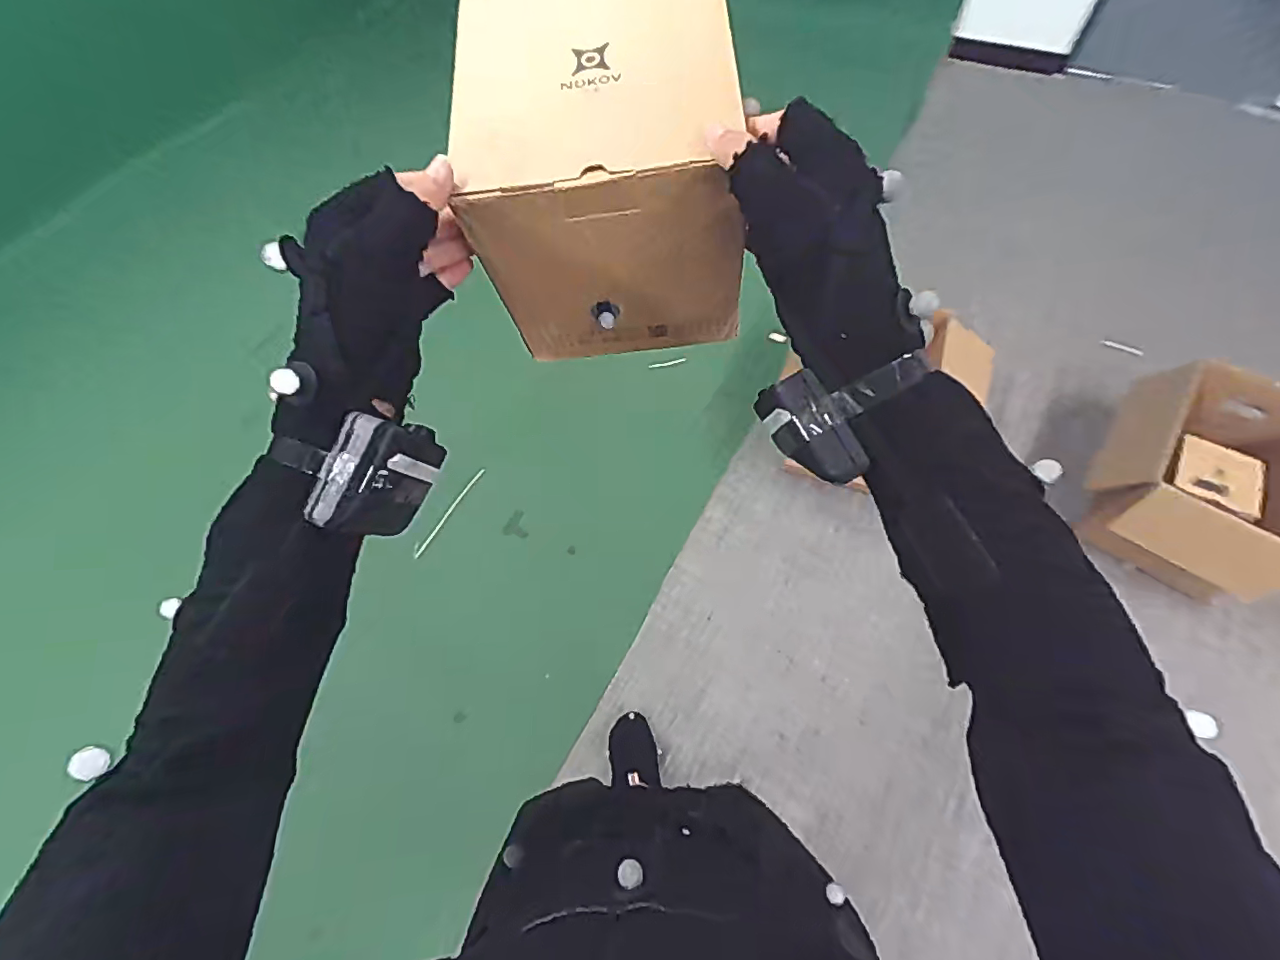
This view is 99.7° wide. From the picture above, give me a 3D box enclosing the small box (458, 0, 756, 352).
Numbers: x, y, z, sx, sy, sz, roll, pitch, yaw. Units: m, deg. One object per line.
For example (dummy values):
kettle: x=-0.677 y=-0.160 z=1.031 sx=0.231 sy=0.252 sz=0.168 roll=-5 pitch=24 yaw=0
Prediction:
small box: x=-0.013 y=-0.218 z=0.392 sx=0.168 sy=0.176 sz=0.179 roll=-6 pitch=72 yaw=7
